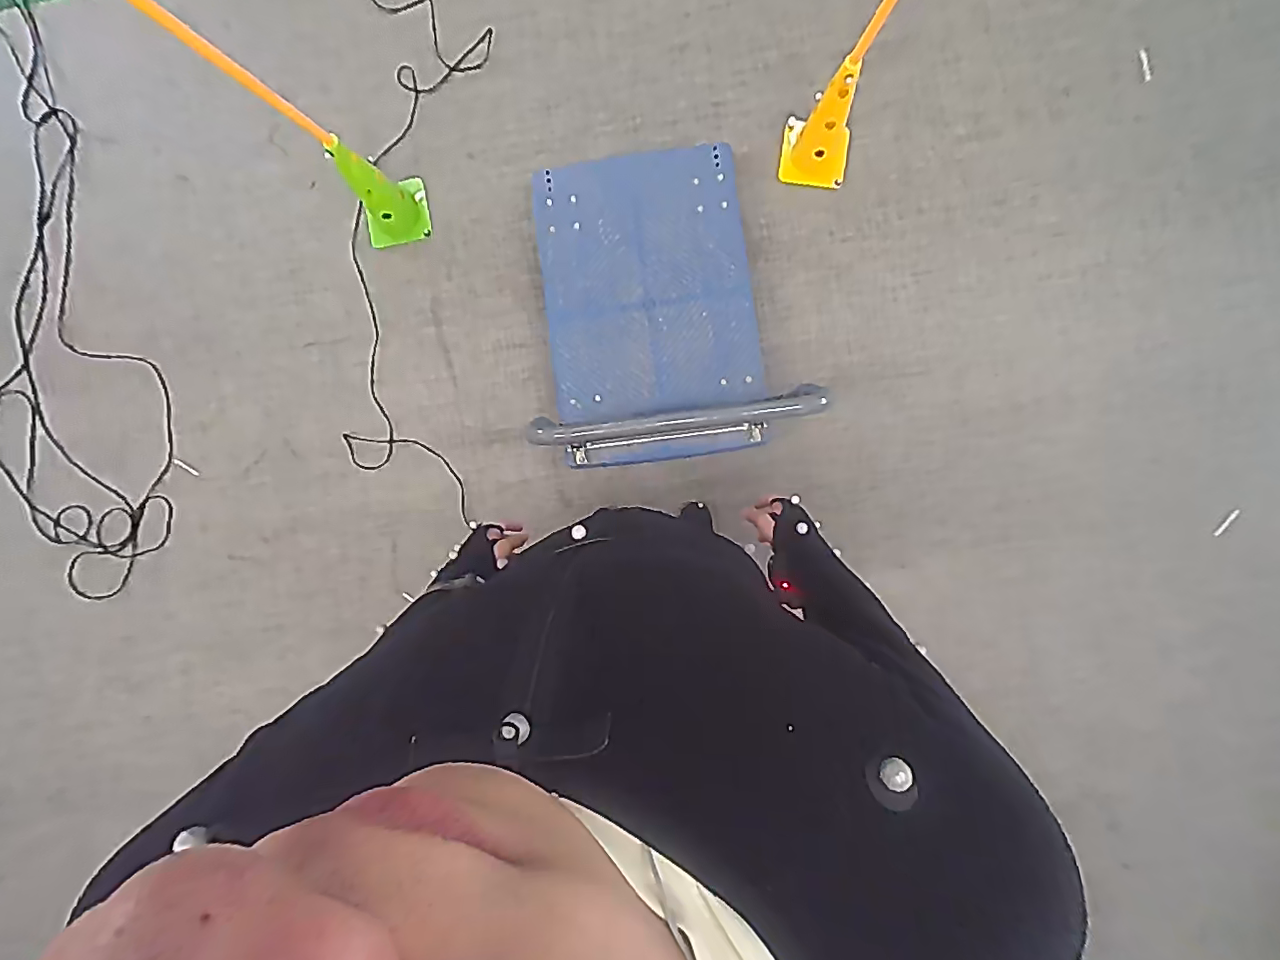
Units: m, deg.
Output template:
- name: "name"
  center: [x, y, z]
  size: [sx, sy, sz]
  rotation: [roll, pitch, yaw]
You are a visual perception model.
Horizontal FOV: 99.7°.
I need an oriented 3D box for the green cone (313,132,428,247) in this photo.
- name: "green cone"
  center: [-0.795, -0.863, 1.550]
  size: [0.202, 0.368, 0.200]
  rotation: [-12, 87, 4]
